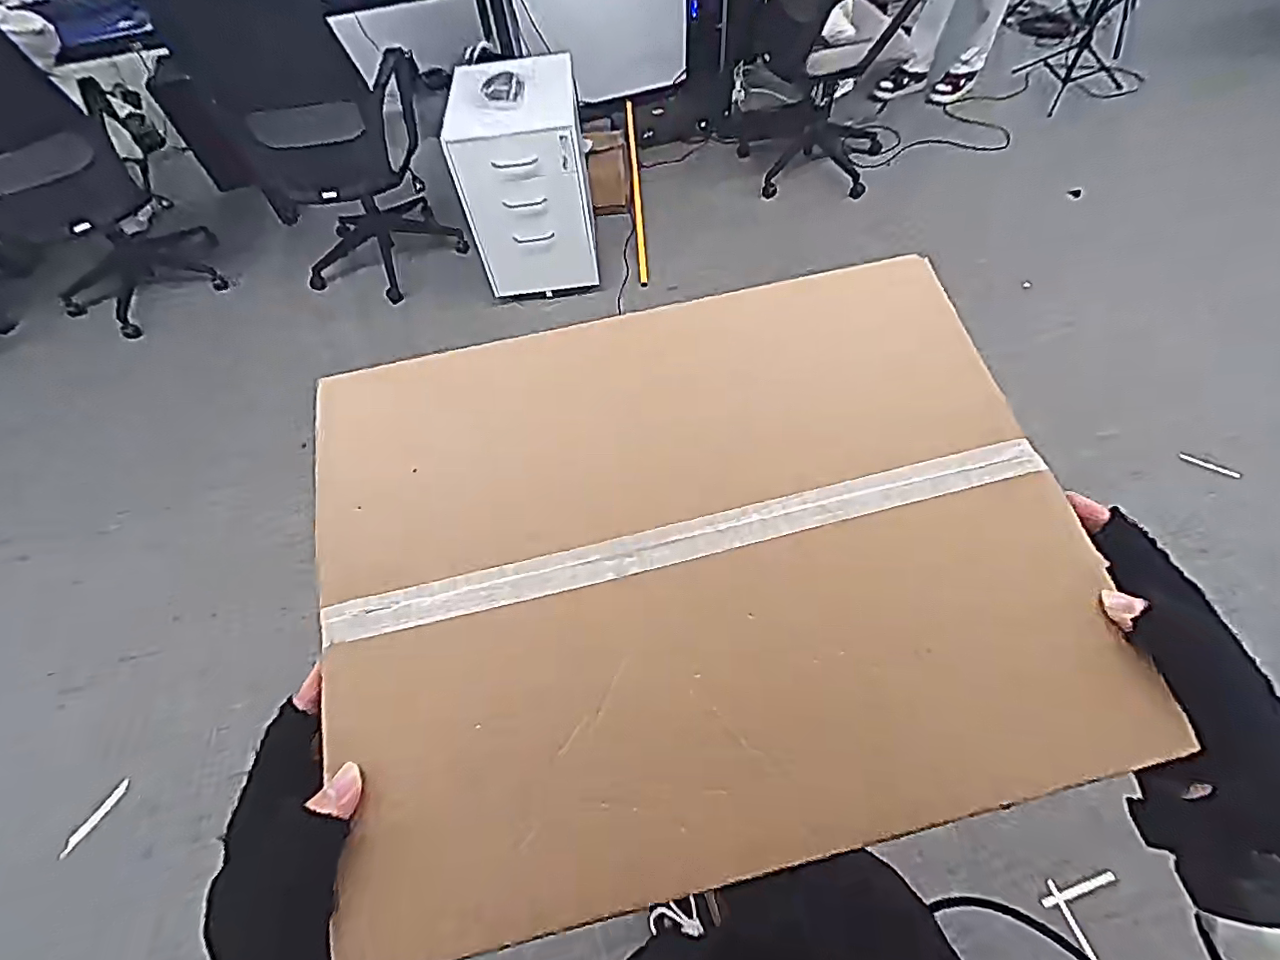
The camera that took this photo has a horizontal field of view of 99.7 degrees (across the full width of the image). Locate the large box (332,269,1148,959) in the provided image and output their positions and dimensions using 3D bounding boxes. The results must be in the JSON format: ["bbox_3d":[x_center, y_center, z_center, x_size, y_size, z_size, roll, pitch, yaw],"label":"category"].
[{"bbox_3d":[0.035,0.091,0.448,0.408,0.320,0.320,-14,68,-3],"label":"large box"}]
